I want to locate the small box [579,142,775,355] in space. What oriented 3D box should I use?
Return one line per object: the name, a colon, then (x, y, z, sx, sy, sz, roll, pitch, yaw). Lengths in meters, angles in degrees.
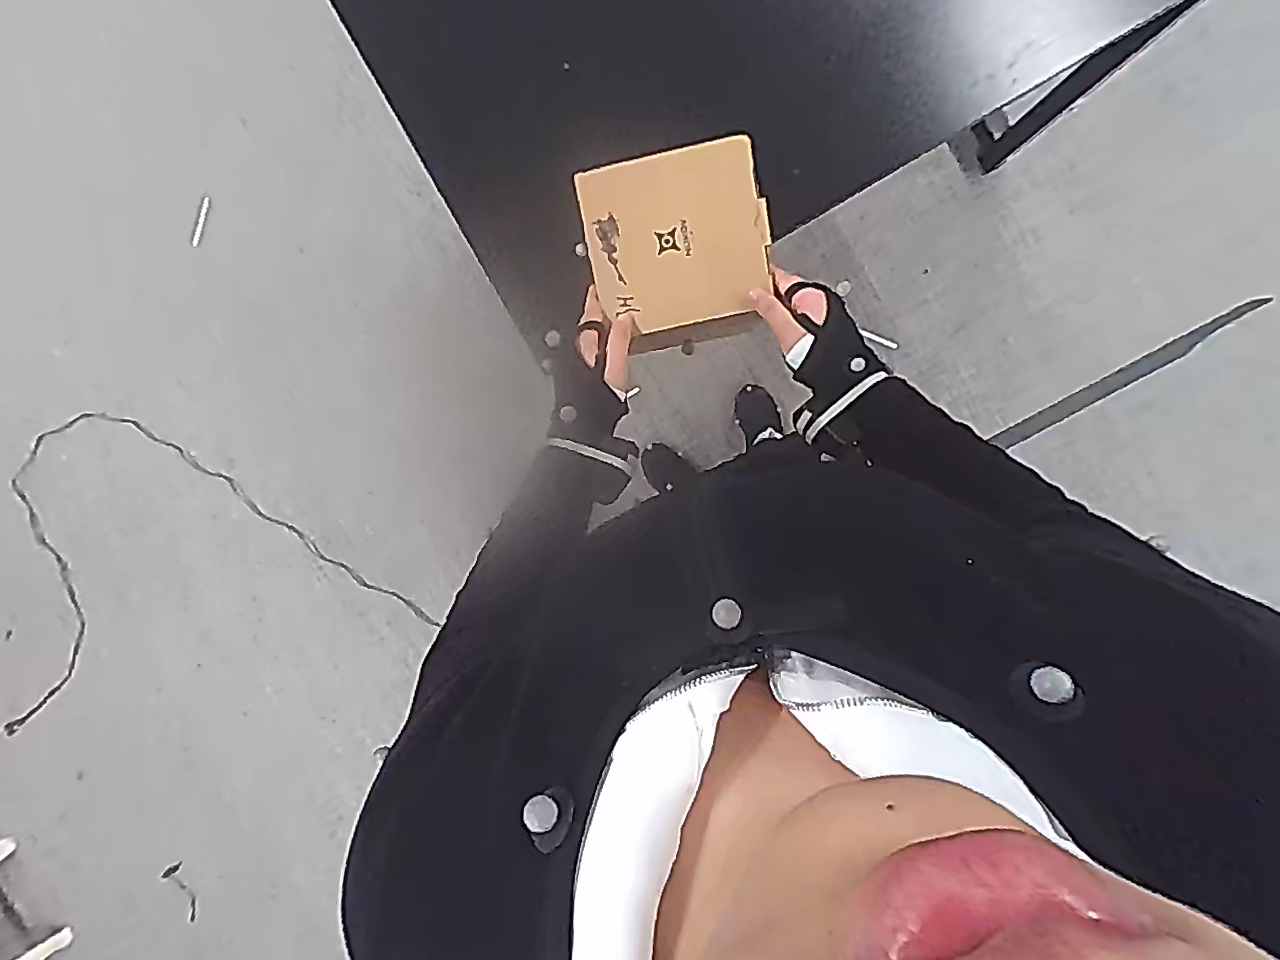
small box: (0.038, -0.245, 0.615, 0.179, 0.176, 0.168, -10, 96, 2)
